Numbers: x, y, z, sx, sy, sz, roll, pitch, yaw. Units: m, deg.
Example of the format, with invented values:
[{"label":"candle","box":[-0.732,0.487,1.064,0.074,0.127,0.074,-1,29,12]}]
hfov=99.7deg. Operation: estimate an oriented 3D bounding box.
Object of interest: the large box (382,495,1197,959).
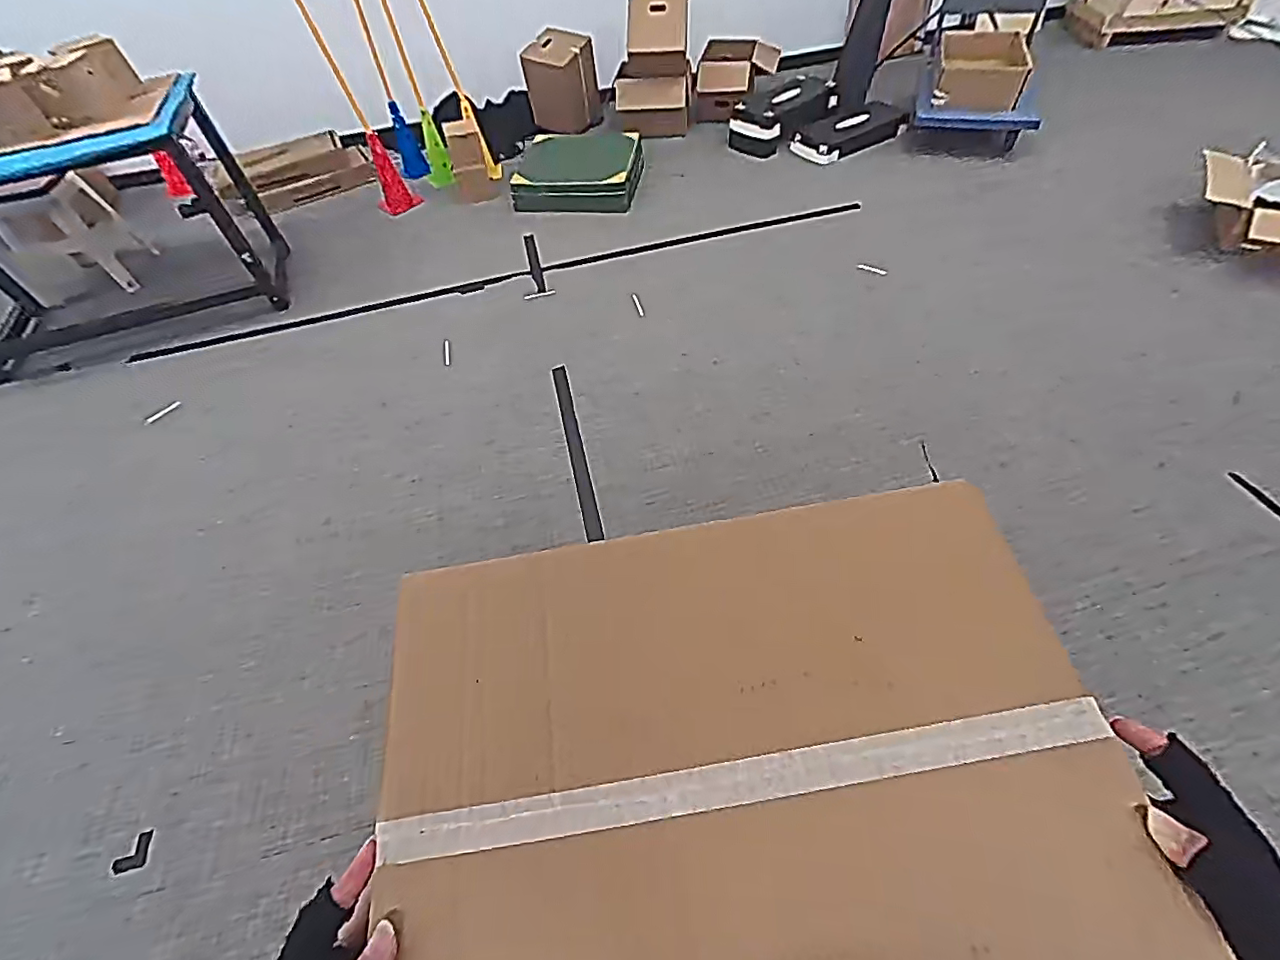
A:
[{"label":"large box","box":[0.068,0.248,0.437,0.408,0.320,0.320,-10,59,0]}]
